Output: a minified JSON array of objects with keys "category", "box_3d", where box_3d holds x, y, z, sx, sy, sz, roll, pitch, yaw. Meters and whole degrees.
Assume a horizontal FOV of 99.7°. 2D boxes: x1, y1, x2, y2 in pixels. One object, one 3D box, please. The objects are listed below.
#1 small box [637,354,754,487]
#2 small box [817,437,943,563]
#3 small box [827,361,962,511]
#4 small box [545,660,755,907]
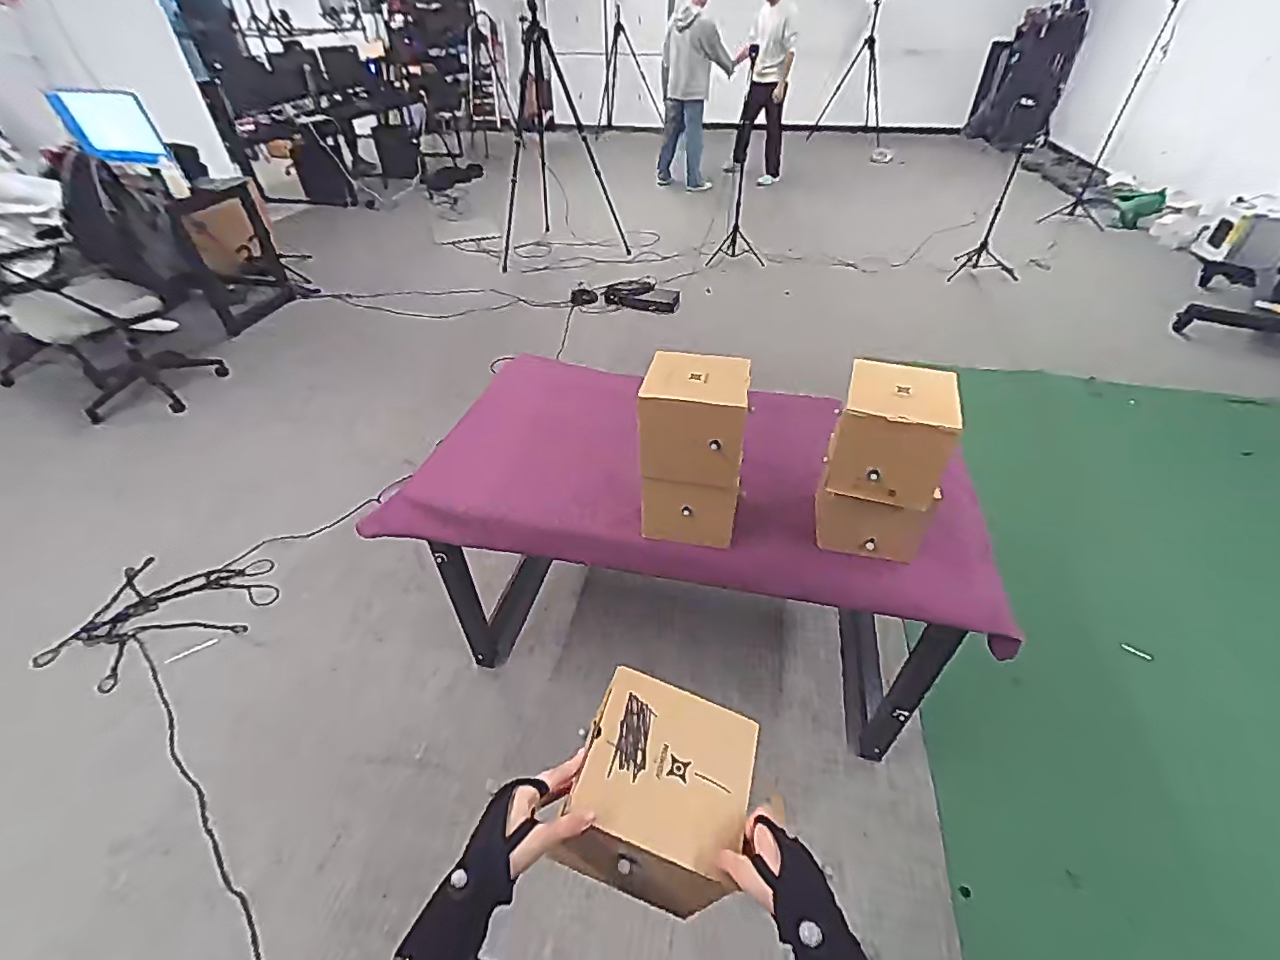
[{"category":"small box","box_3d":[0.099,-0.105,0.957,0.179,0.176,0.168,7,39,11]},{"category":"small box","box_3d":[0.445,0.037,1.032,0.179,0.176,0.168,7,40,10]},{"category":"small box","box_3d":[0.423,-0.078,0.916,0.168,0.176,0.179,12,43,17]},{"category":"small box","box_3d":[0.008,0.343,0.609,0.179,0.176,0.168,22,42,4]}]
